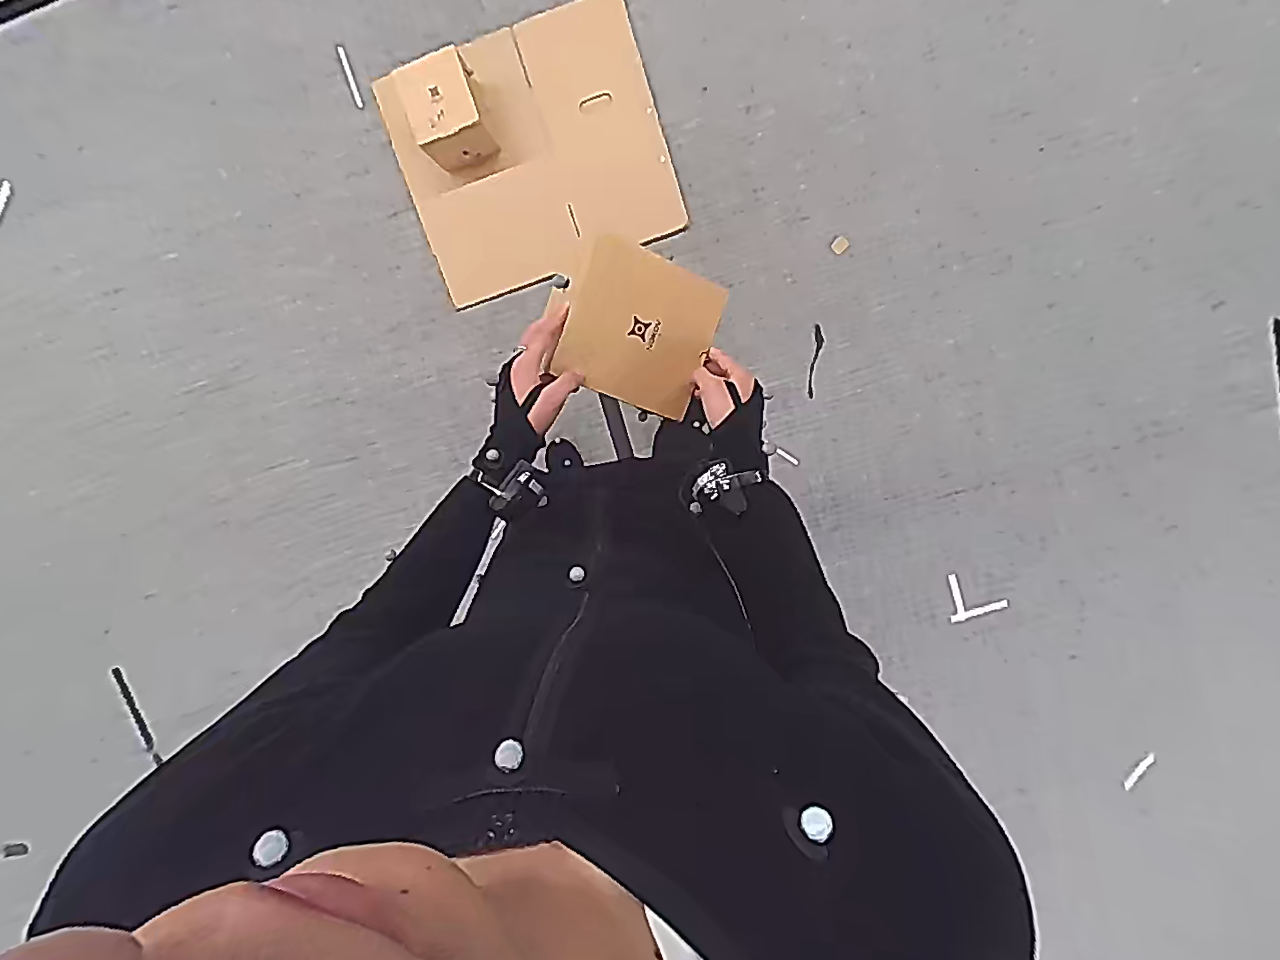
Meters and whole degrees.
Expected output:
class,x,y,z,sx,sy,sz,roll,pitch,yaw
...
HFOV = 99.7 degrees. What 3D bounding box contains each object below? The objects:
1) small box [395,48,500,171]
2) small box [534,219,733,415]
class,x,y,z,sx,sy,sz,roll,pitch,yaw
small box,-0.475,-0.919,1.360,0.168,0.176,0.179,-18,100,6
small box,-0.021,-0.194,0.677,0.179,0.176,0.168,17,99,-24
